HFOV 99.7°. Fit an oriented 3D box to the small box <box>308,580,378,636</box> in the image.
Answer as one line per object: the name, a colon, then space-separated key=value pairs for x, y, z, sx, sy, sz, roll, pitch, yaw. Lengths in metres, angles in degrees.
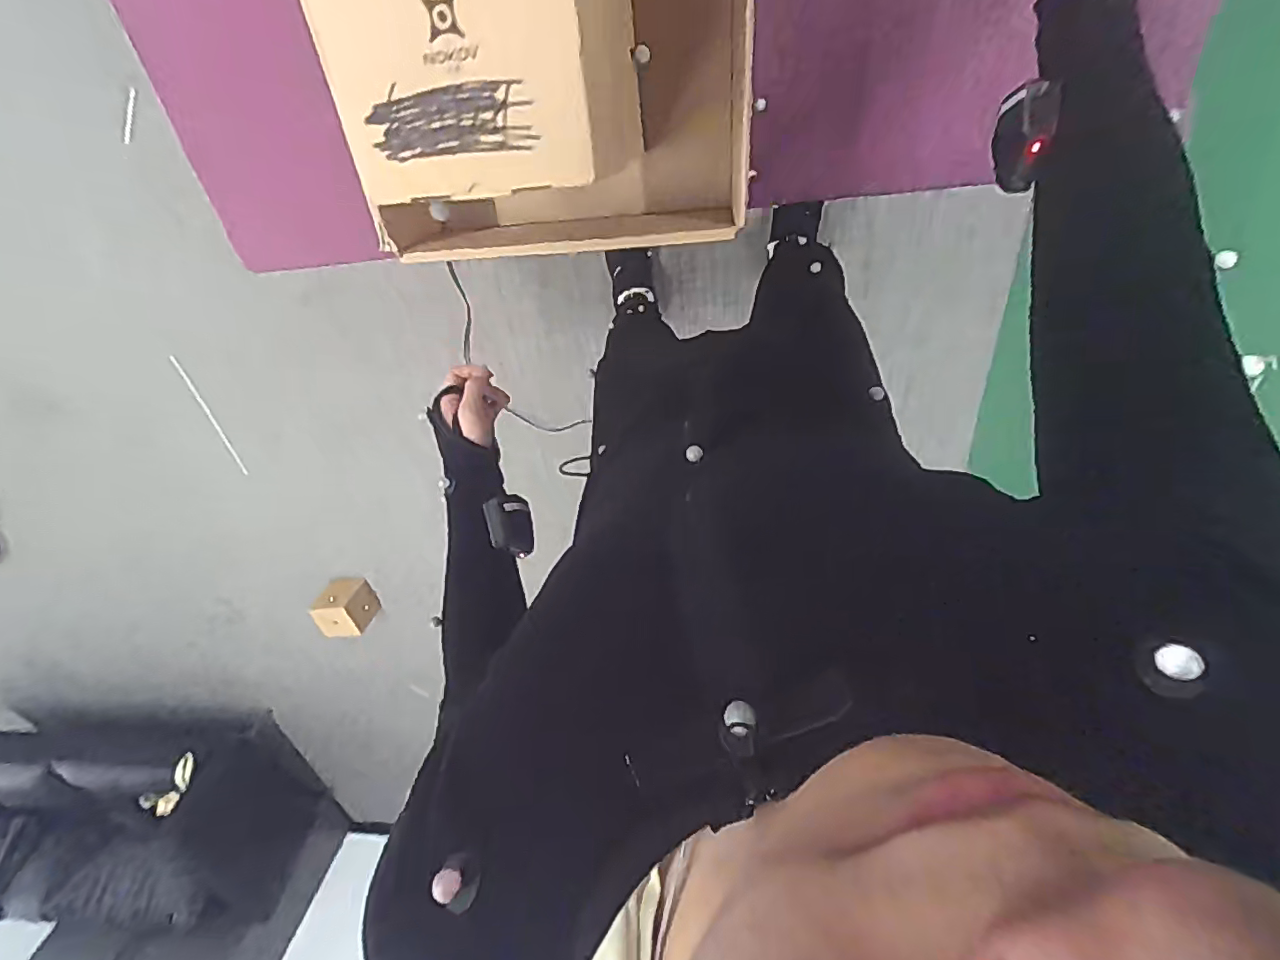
small box: x=-1.239 y=0.535 z=2.278 sx=0.179 sy=0.176 sz=0.168 roll=-5 pitch=122 yaw=12
